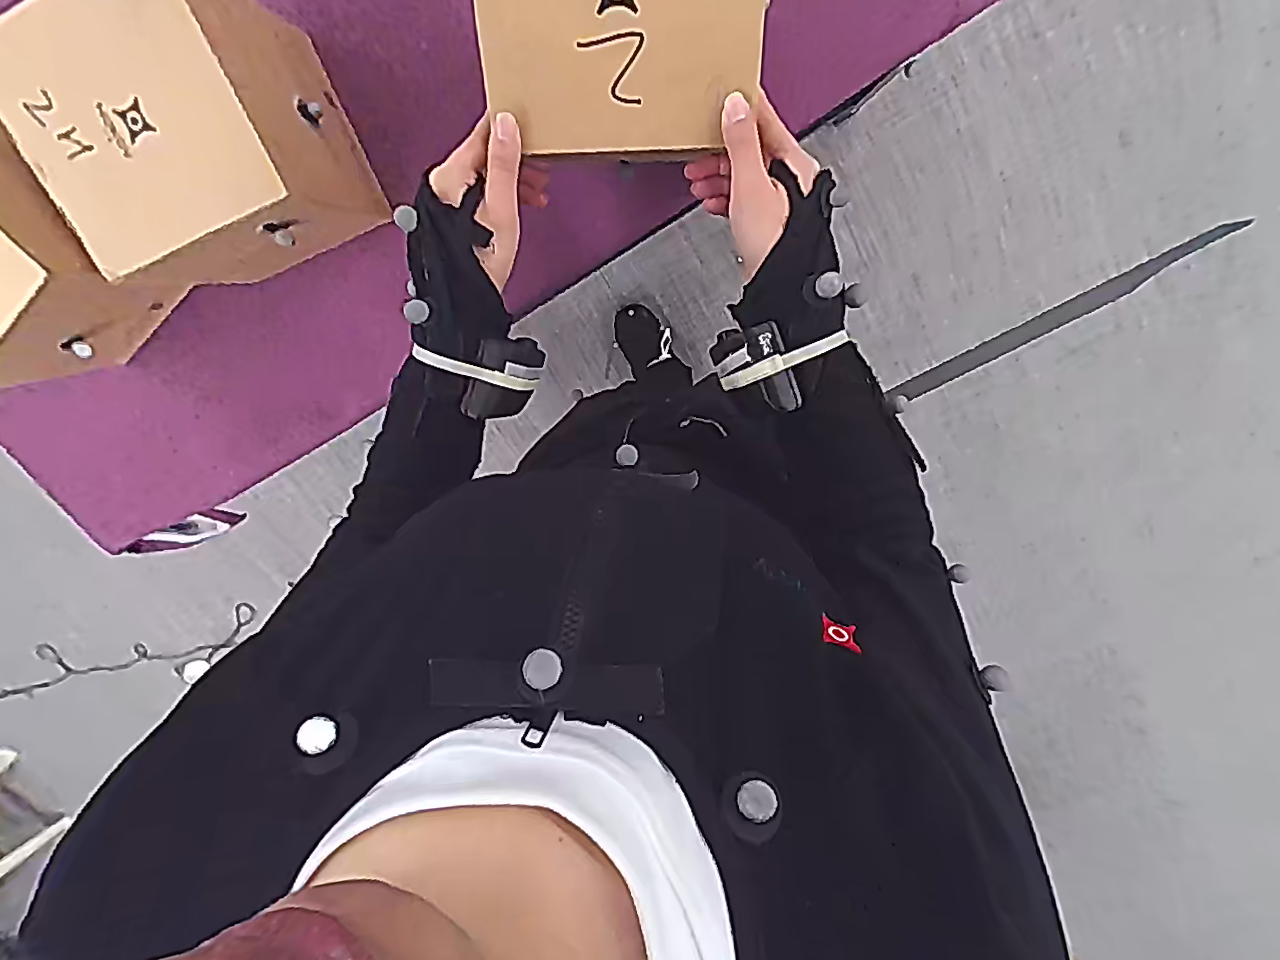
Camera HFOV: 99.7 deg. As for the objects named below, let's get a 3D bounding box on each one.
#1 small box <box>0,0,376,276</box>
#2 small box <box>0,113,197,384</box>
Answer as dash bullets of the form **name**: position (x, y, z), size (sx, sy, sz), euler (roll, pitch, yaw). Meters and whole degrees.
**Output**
- **small box**: position (-0.359, -0.286, 0.458), size (0.179, 0.176, 0.168), euler (-19, 108, 10)
- **small box**: position (-0.576, -0.214, 0.497), size (0.168, 0.176, 0.179), euler (-36, 106, 15)
